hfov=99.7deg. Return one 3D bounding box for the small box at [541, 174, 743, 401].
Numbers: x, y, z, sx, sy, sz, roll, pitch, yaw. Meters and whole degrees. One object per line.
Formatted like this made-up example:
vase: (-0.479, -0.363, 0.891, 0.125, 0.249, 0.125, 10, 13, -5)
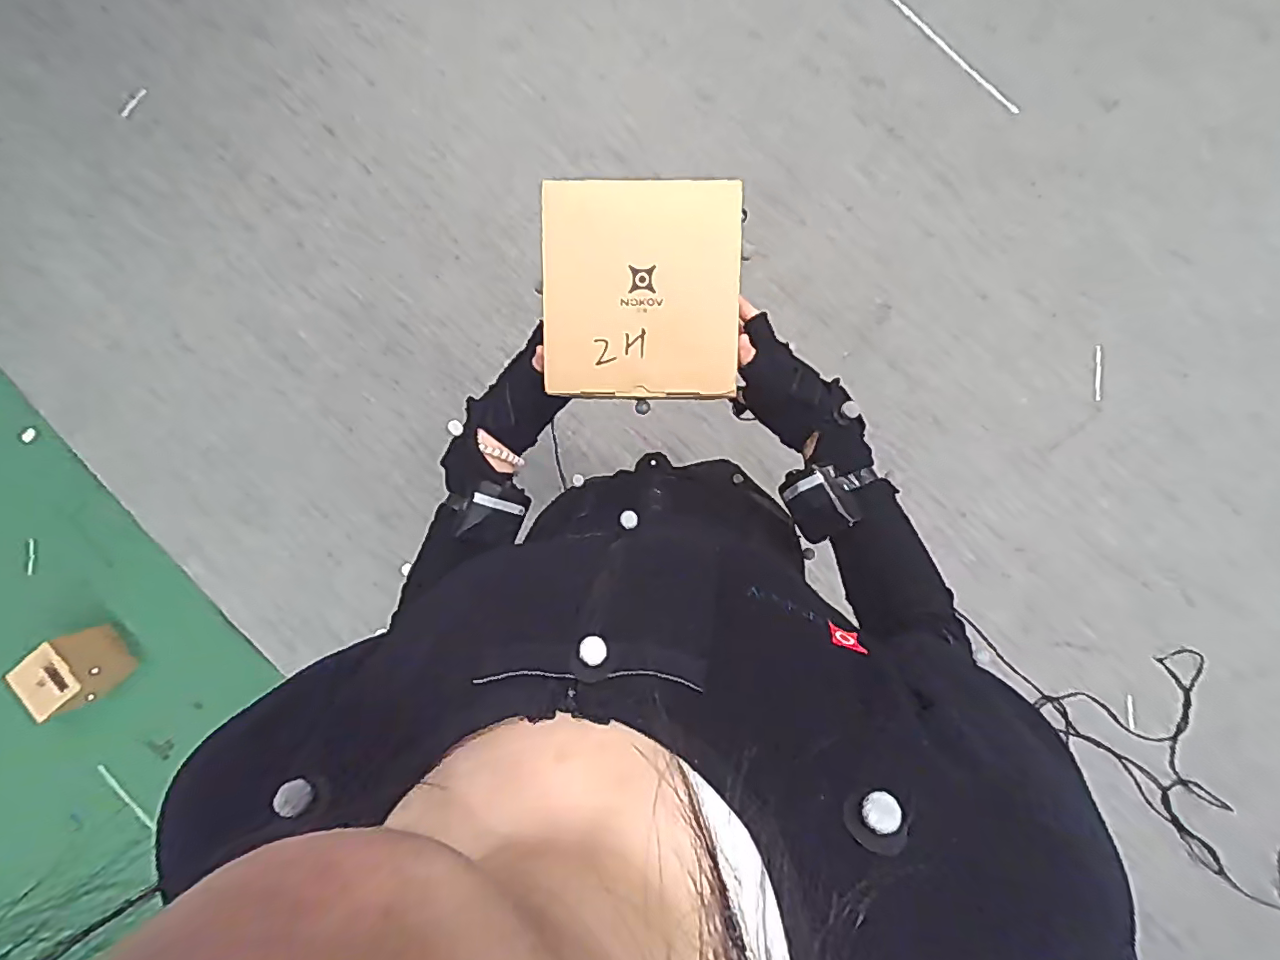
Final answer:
small box: (0.001, -0.169, 0.525, 0.168, 0.176, 0.179, 1, 98, 2)
